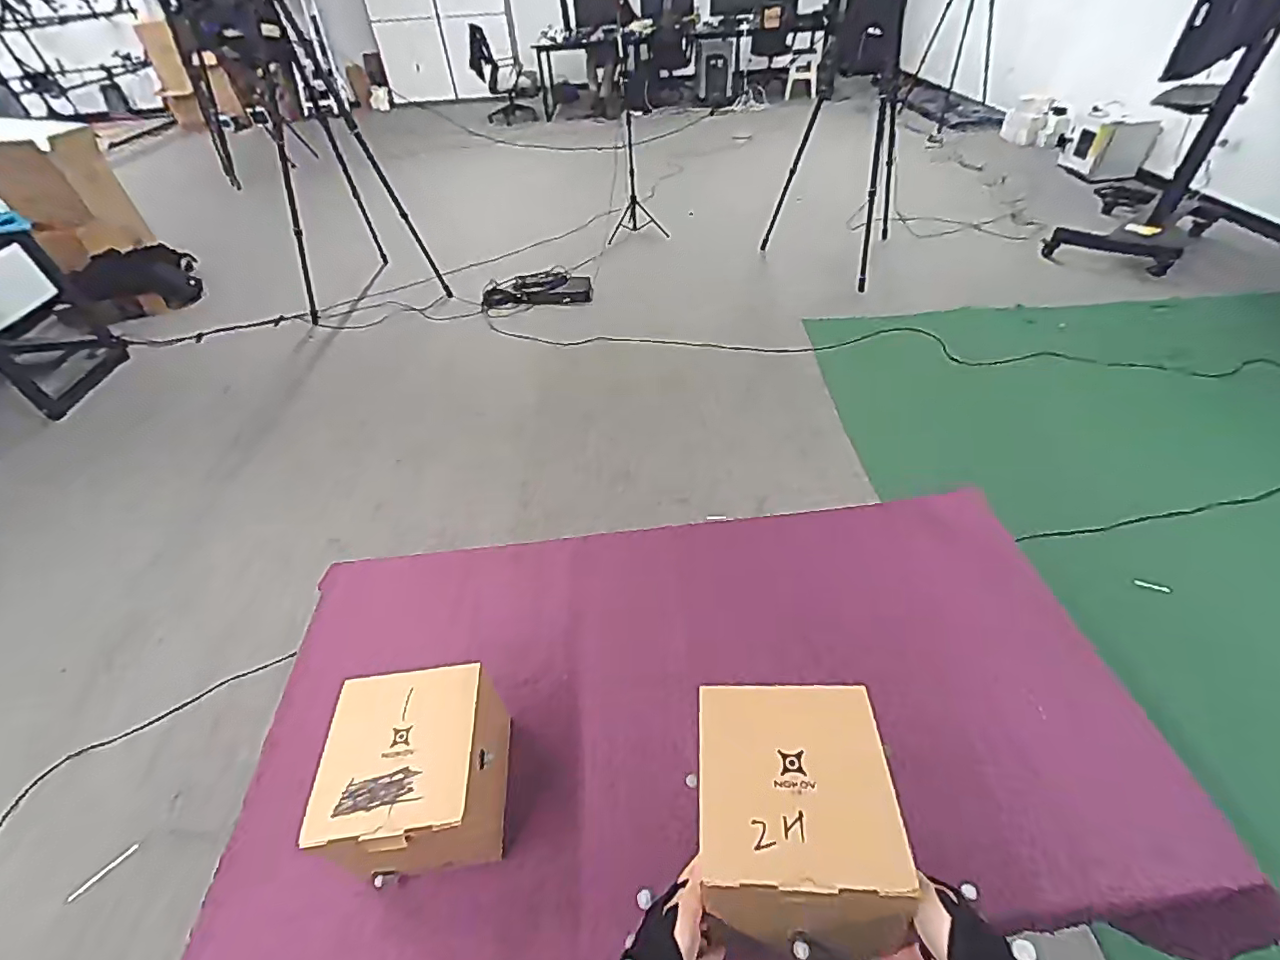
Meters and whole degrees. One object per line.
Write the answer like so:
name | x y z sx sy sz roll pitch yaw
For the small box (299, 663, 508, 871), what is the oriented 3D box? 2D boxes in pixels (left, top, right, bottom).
small box | -0.262 0.350 0.653 0.168 0.176 0.179 -6 44 -2

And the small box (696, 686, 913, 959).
small box | 0.144 0.326 0.529 0.168 0.176 0.179 -4 36 9
